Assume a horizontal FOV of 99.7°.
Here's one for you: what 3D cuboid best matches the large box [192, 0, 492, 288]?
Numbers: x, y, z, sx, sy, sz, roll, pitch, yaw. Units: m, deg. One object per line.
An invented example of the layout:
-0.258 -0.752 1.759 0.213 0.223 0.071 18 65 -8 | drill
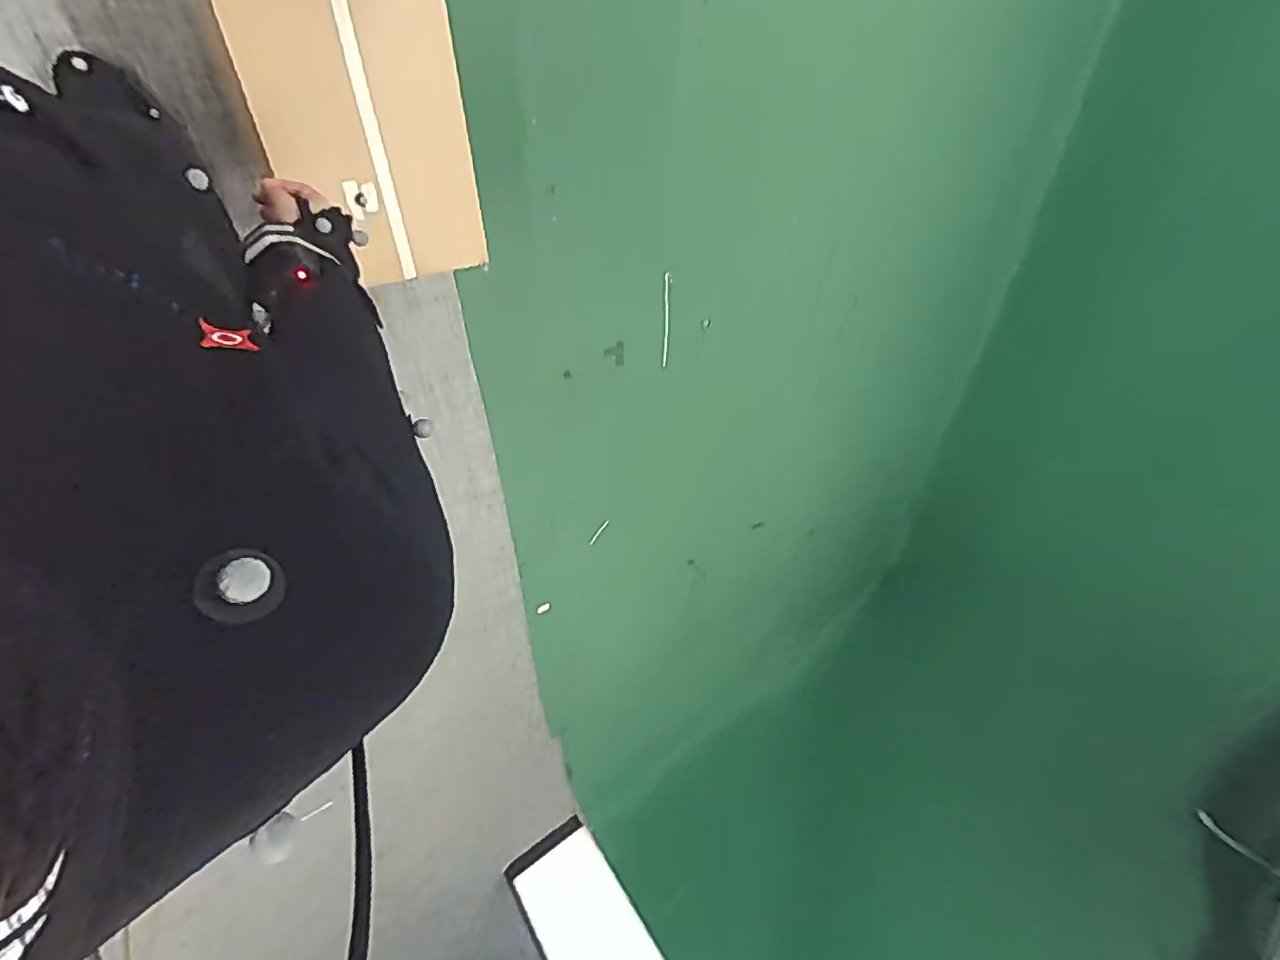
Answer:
-0.504 -0.608 0.957 0.320 0.320 0.408 -24 133 -27 | large box
